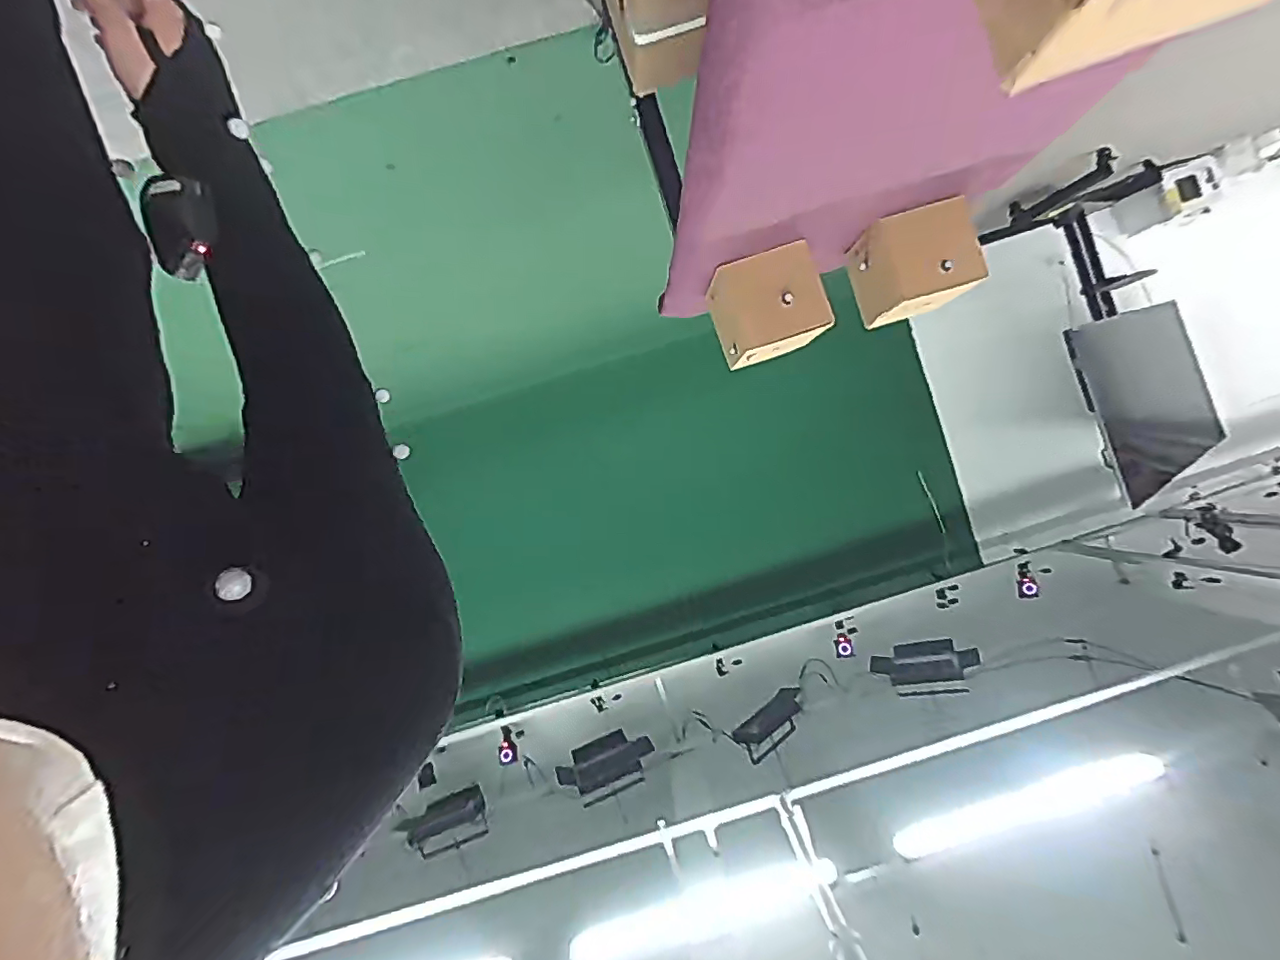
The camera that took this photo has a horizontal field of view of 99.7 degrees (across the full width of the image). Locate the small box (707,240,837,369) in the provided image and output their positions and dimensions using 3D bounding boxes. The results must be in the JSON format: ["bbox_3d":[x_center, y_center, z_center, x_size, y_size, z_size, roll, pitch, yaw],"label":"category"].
[{"bbox_3d":[0.252,-0.344,1.068,0.179,0.176,0.168,-20,178,-2],"label":"small box"}]

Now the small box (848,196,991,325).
[{"bbox_3d":[0.551,-0.439,1.088,0.179,0.176,0.168,-17,178,-1],"label":"small box"}]

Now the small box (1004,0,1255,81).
[{"bbox_3d":[0.287,-0.356,0.260,0.179,0.176,0.168,-19,-179,2],"label":"small box"}]
